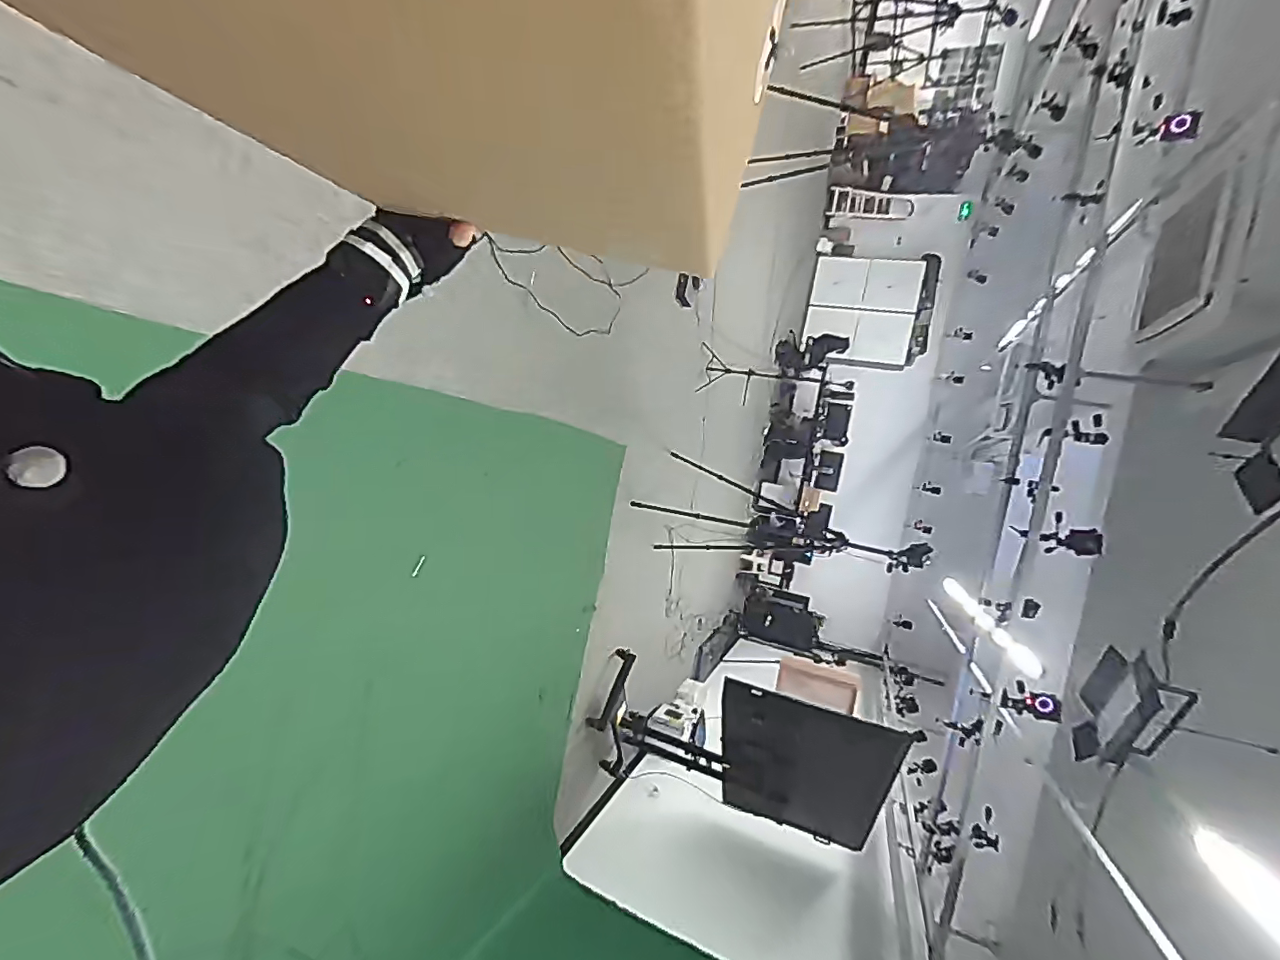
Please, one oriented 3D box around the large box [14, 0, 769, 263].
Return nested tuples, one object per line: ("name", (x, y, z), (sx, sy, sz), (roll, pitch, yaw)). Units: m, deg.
("large box", (-0.082, -0.332, 0.269), (0.408, 0.320, 0.320), (-59, 162, -78))
